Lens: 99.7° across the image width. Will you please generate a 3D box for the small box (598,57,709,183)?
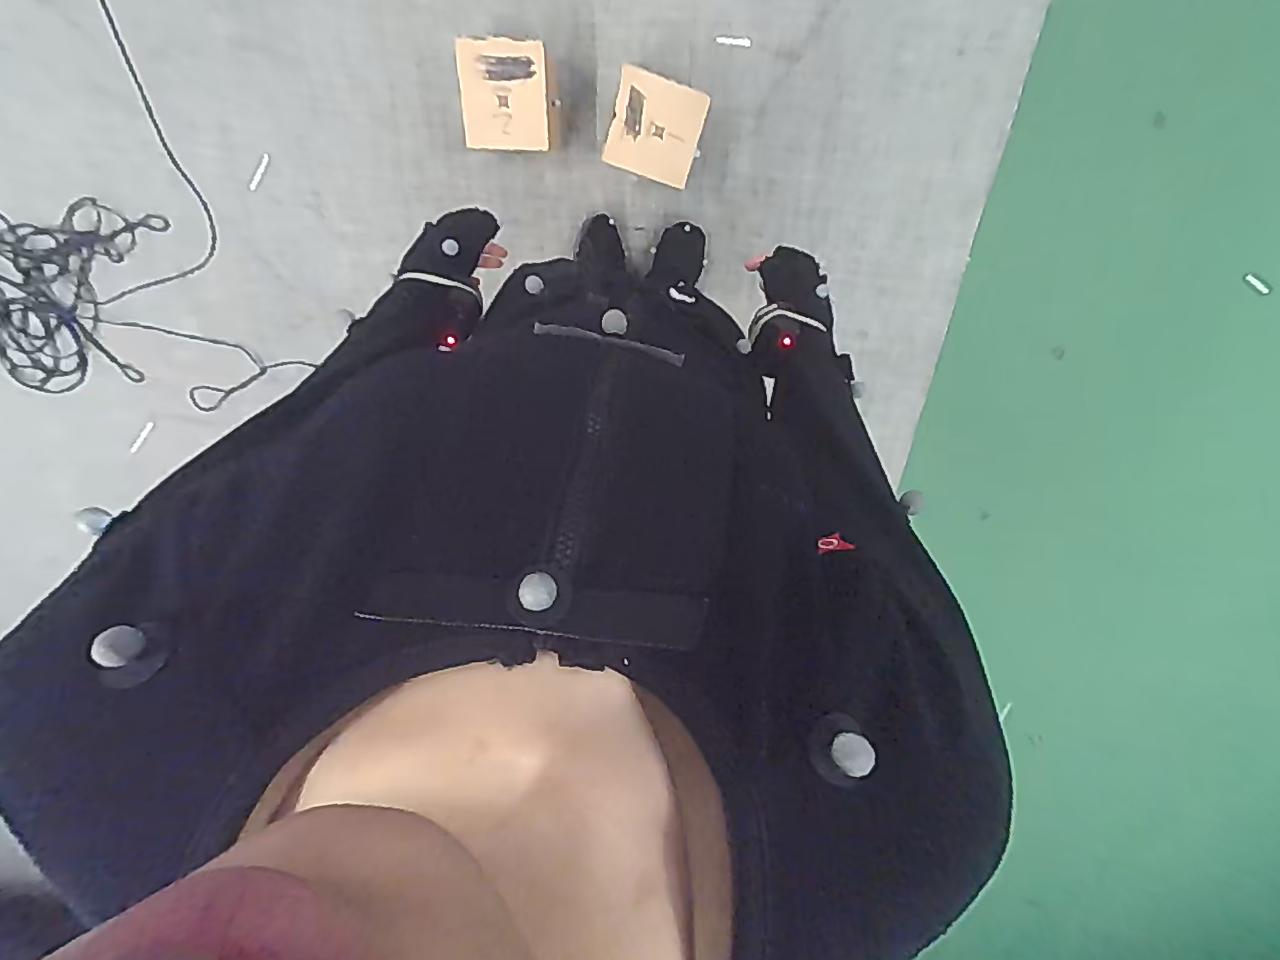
[{"bbox_3d":[0.025,-0.724,1.108,0.179,0.176,0.168,16,118,-8],"label":"small box"}]
